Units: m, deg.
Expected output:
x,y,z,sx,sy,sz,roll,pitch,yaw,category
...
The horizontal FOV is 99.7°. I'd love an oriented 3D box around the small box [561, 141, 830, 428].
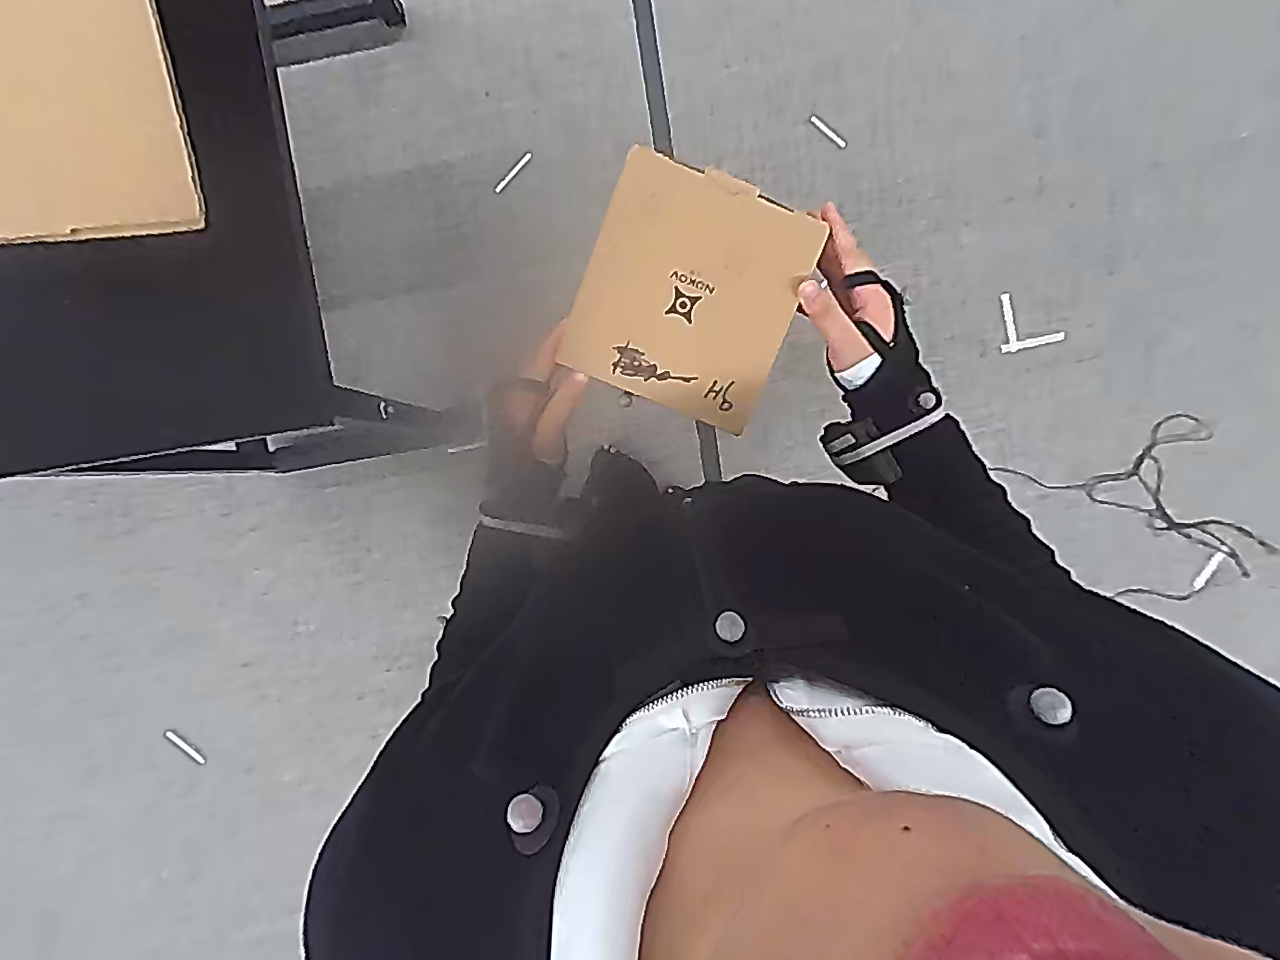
x,y,z,sx,sy,sz,roll,pitch,yaw,category
0.045,-0.163,0.504,0.168,0.176,0.179,22,100,0,small box
